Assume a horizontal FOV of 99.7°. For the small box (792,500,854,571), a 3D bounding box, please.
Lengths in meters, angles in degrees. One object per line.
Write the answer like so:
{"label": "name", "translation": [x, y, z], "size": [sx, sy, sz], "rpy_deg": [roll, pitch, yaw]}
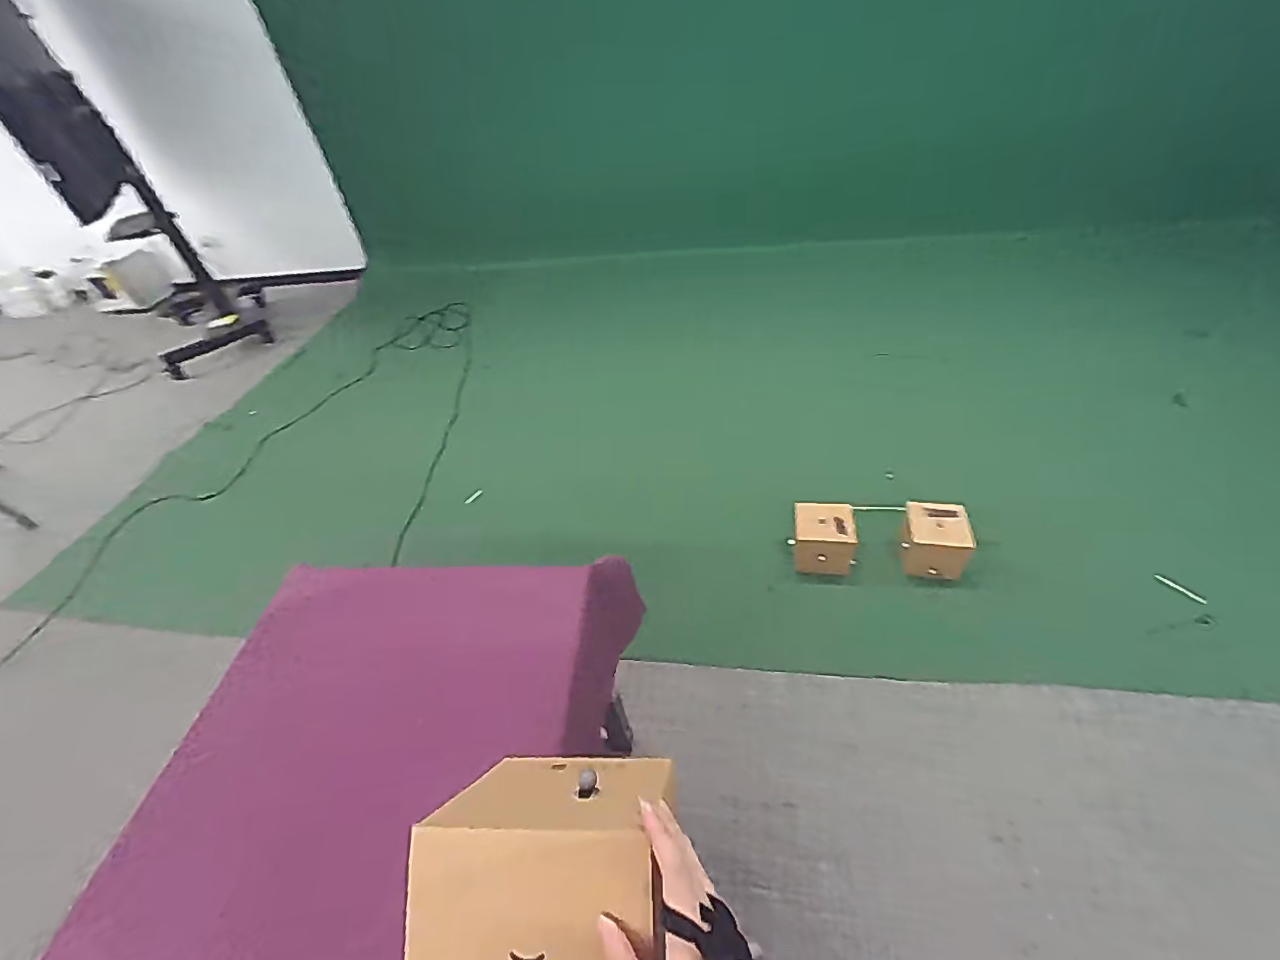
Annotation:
{"label": "small box", "translation": [0.597, 0.185, 1.785], "size": [0.179, 0.176, 0.168], "rpy_deg": [1, 44, 13]}
